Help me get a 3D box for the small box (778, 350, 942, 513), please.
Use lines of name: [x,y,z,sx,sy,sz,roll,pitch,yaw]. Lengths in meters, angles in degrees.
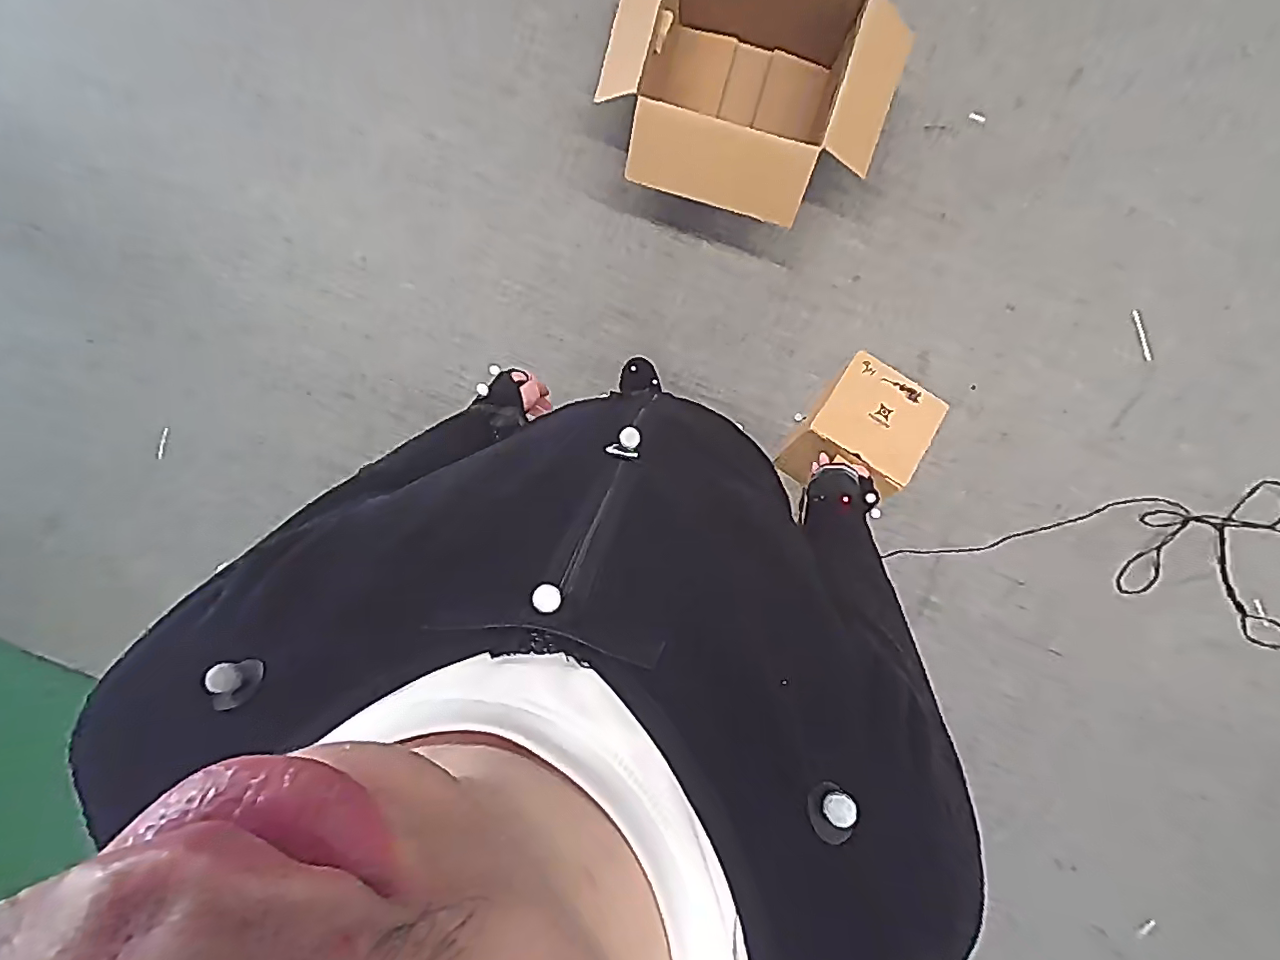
small box: [0.350,-0.071,0.898,0.168,0.176,0.179,36,71,8]
